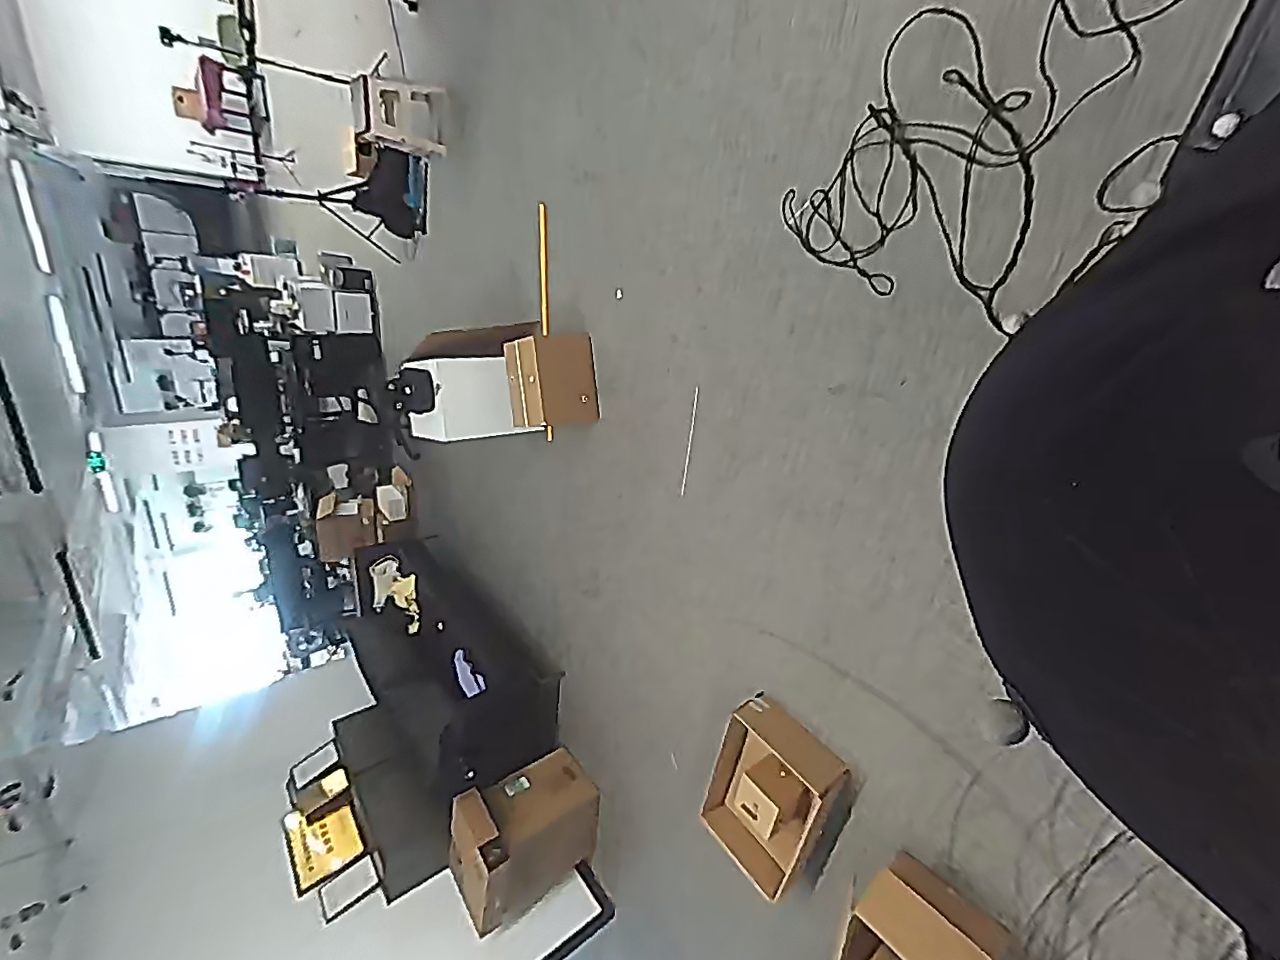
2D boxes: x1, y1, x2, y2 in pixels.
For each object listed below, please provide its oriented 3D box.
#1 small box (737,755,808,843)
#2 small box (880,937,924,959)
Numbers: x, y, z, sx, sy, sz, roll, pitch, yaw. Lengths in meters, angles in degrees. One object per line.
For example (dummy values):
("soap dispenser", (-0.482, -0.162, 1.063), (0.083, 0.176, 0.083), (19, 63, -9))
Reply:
("small box", (0.478, 1.138, 1.940), (0.168, 0.176, 0.179), (33, 124, 43))
("small box", (0.728, 1.423, 1.478), (0.168, 0.176, 0.179), (24, 115, 47))
